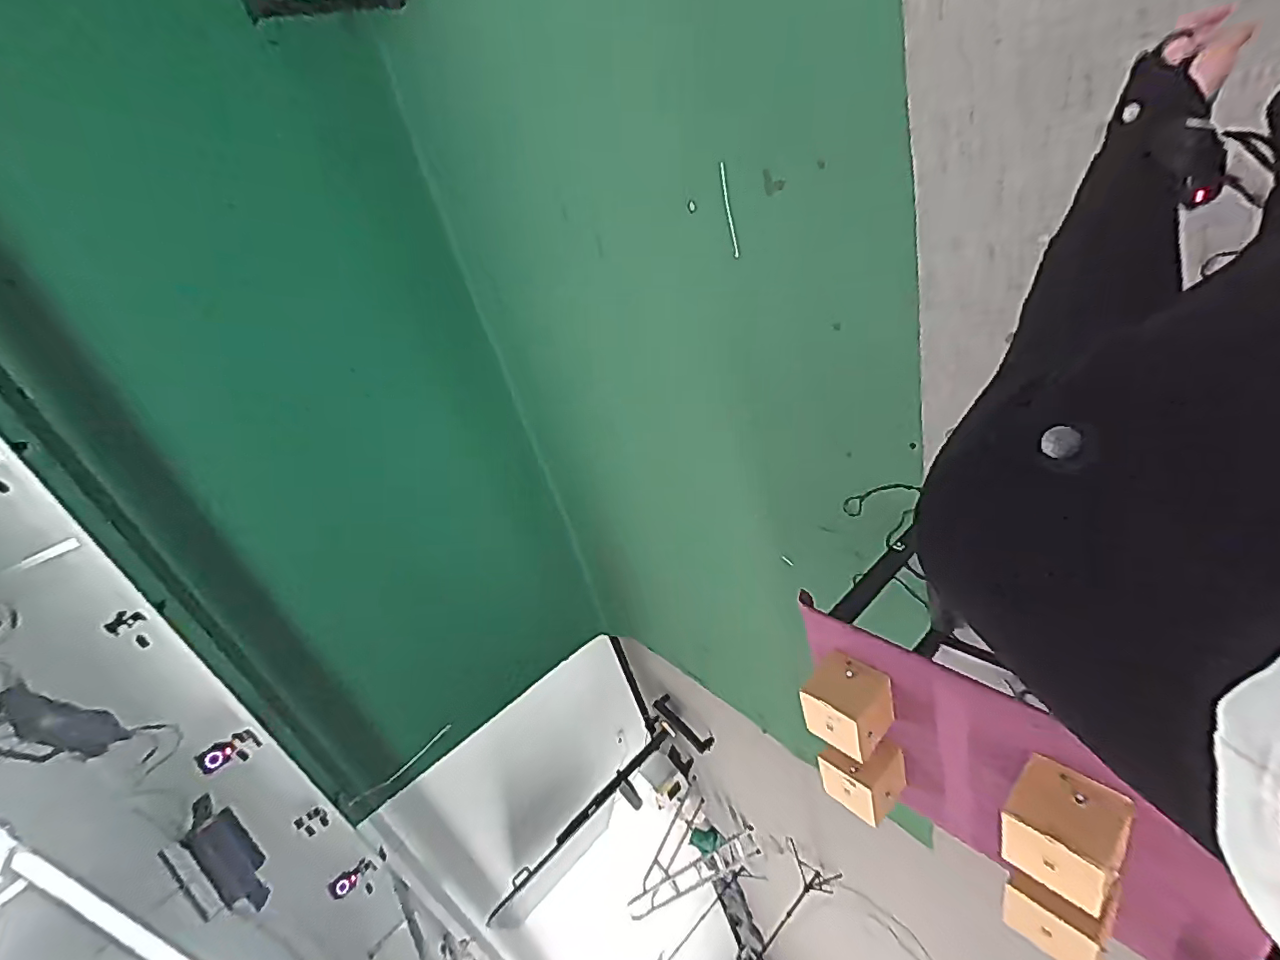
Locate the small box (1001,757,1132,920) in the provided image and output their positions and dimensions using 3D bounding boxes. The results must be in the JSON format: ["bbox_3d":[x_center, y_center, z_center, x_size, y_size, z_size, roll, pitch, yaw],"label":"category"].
[{"bbox_3d":[0.858,0.714,1.093,0.168,0.176,0.179,17,132,51],"label":"small box"}]

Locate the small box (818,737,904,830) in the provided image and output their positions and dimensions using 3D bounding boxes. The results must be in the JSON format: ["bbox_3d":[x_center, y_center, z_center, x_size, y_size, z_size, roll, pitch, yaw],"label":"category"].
[{"bbox_3d":[0.641,0.844,1.558,0.168,0.176,0.179,16,131,50],"label":"small box"}]

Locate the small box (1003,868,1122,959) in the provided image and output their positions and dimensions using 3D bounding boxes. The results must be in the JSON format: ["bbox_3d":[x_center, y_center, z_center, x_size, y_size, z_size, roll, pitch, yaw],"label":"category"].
[{"bbox_3d":[0.937,0.945,1.203,0.168,0.176,0.179,17,132,49],"label":"small box"}]

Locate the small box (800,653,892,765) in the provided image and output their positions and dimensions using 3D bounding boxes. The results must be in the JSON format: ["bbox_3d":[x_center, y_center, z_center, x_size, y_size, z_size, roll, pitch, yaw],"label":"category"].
[{"bbox_3d":[0.555,0.605,1.445,0.168,0.176,0.179,17,133,48],"label":"small box"}]
